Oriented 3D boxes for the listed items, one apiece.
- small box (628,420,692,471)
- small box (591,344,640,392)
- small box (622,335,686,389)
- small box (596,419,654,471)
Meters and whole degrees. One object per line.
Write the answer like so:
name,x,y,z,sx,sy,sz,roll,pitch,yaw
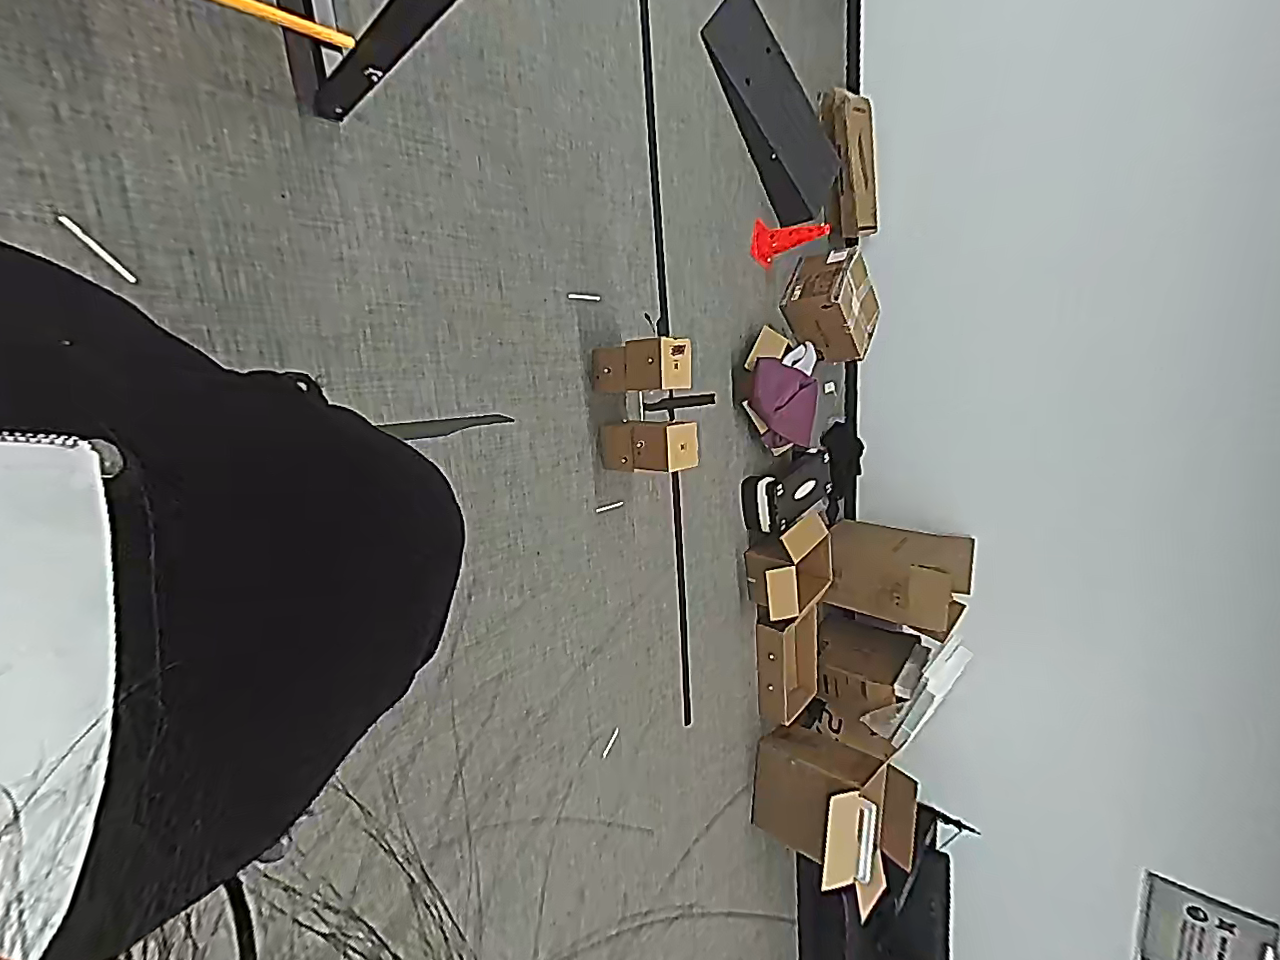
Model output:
small box,0.075,-0.133,2.000,0.179,0.176,0.168,-14,105,-45
small box,-0.074,-0.421,2.040,0.179,0.176,0.168,-13,104,-46
small box,0.047,-0.415,1.925,0.168,0.176,0.179,-11,103,-47
small box,-0.053,-0.141,2.101,0.168,0.176,0.179,-17,108,-45
